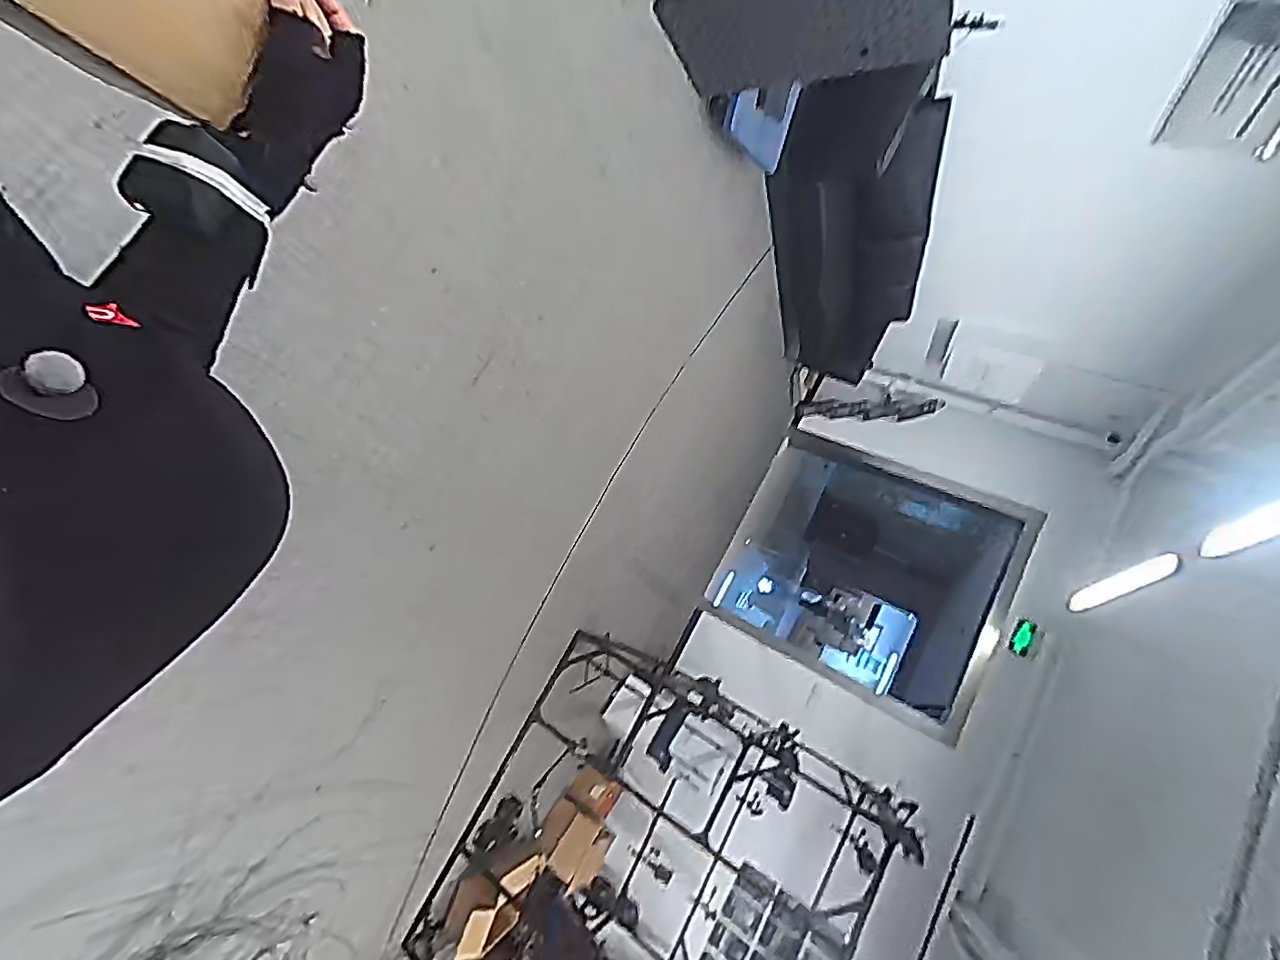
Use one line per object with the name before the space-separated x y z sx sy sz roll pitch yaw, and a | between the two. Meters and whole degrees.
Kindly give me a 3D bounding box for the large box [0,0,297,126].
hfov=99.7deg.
large box | -0.447 -0.509 0.306 0.320 0.320 0.408 -60 154 6
